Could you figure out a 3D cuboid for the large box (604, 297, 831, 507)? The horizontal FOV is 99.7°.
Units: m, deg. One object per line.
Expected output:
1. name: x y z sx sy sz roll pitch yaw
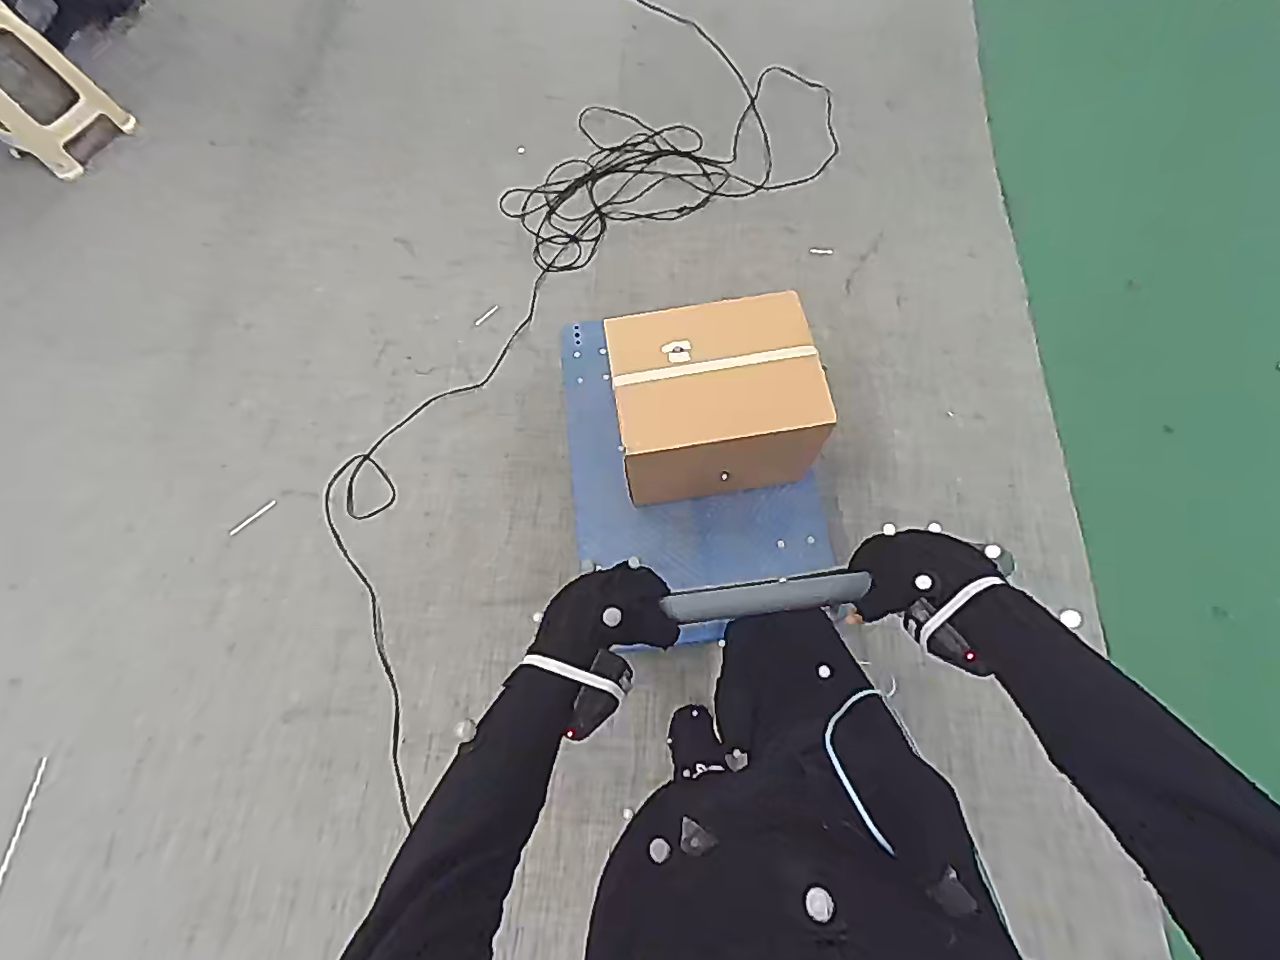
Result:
1. large box: 0.155 -0.156 1.213 0.408 0.320 0.320 -10 68 1
